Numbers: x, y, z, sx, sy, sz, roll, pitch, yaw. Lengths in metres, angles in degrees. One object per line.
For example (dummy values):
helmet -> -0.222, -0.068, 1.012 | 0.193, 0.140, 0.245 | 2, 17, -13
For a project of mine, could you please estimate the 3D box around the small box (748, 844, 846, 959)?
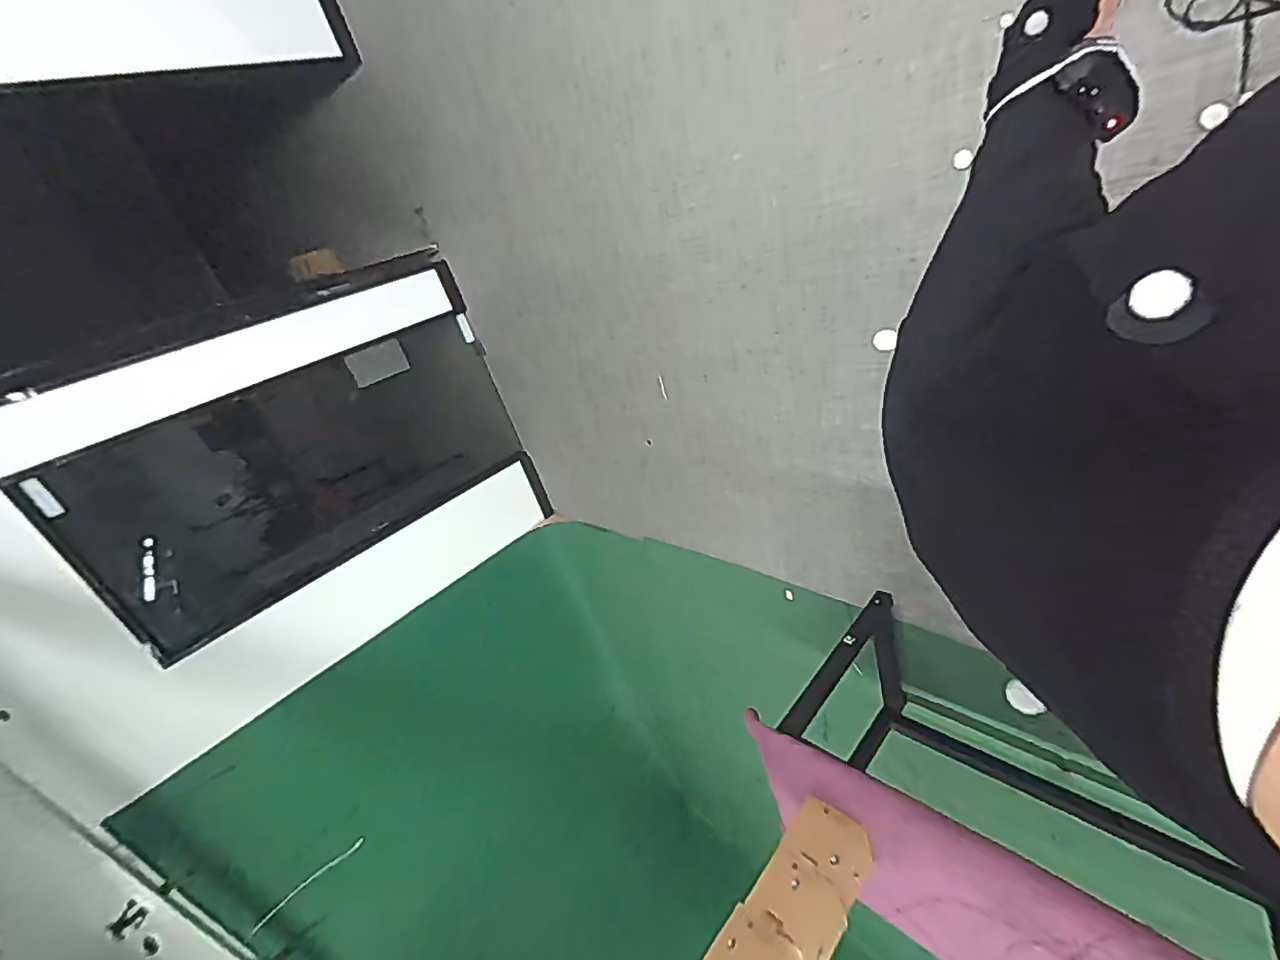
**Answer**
small box -> 0.410, 1.101, 1.396 | 0.168, 0.176, 0.179 | 8, 127, 48

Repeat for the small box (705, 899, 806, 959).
small box -> 0.296, 1.184, 1.315 | 0.168, 0.176, 0.179 | -6, 116, 55
